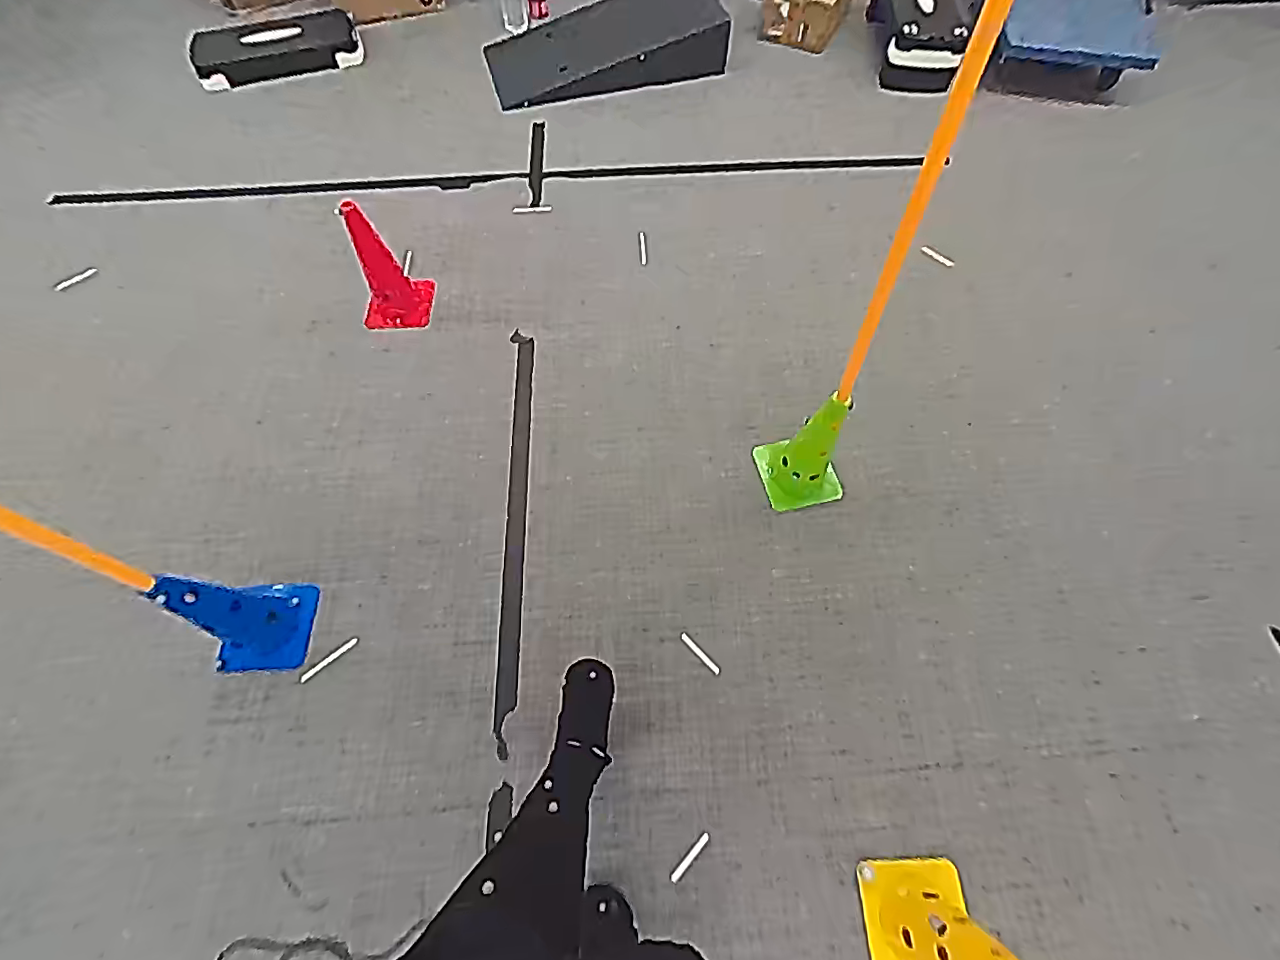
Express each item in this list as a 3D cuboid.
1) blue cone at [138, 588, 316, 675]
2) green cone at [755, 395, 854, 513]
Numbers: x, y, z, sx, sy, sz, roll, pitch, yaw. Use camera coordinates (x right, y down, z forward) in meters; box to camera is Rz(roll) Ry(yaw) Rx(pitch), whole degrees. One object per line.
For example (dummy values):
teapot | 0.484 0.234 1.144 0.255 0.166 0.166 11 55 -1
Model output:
blue cone | -0.872 0.284 1.127 0.193 0.380 0.192 0 63 0
green cone | 0.428 -0.091 1.310 0.200 0.368 0.202 -12 65 -6
